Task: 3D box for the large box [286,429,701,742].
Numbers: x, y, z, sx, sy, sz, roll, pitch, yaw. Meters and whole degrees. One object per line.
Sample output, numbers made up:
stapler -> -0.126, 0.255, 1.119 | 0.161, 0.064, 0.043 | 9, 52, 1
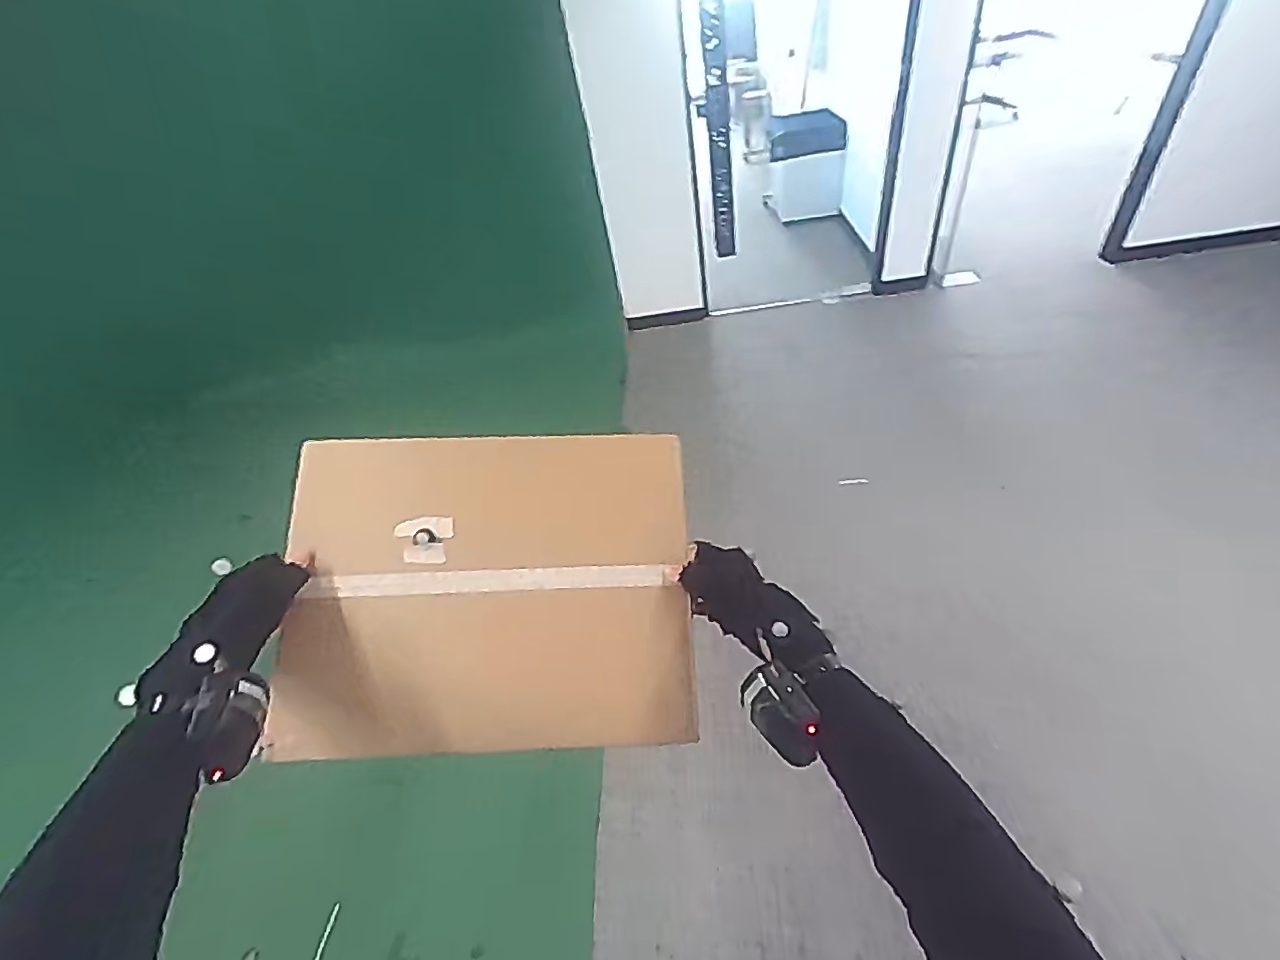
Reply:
large box -> -0.146, 0.135, 0.700 | 0.408, 0.320, 0.320 | -1, 73, -2
